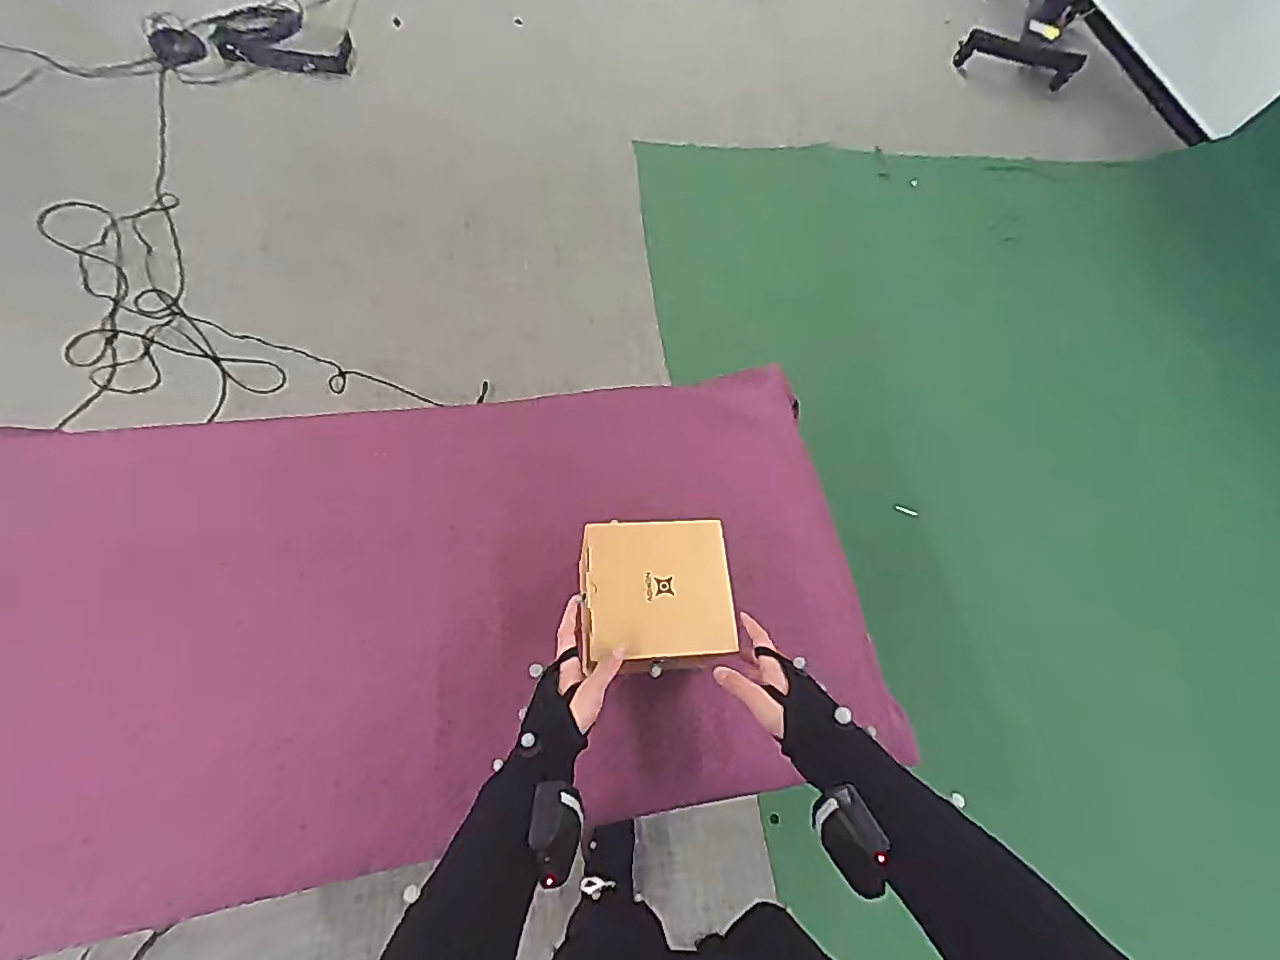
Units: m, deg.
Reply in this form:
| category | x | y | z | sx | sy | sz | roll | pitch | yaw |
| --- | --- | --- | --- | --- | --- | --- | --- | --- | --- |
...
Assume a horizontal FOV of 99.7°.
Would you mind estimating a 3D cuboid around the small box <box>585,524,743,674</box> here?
| category | x | y | z | sx | sy | sz | roll | pitch | yaw |
| --- | --- | --- | --- | --- | --- | --- | --- | --- | --- |
| small box | 0.019 | 0.162 | 0.719 | 0.179 | 0.176 | 0.168 | -1 | 66 | -8 |
